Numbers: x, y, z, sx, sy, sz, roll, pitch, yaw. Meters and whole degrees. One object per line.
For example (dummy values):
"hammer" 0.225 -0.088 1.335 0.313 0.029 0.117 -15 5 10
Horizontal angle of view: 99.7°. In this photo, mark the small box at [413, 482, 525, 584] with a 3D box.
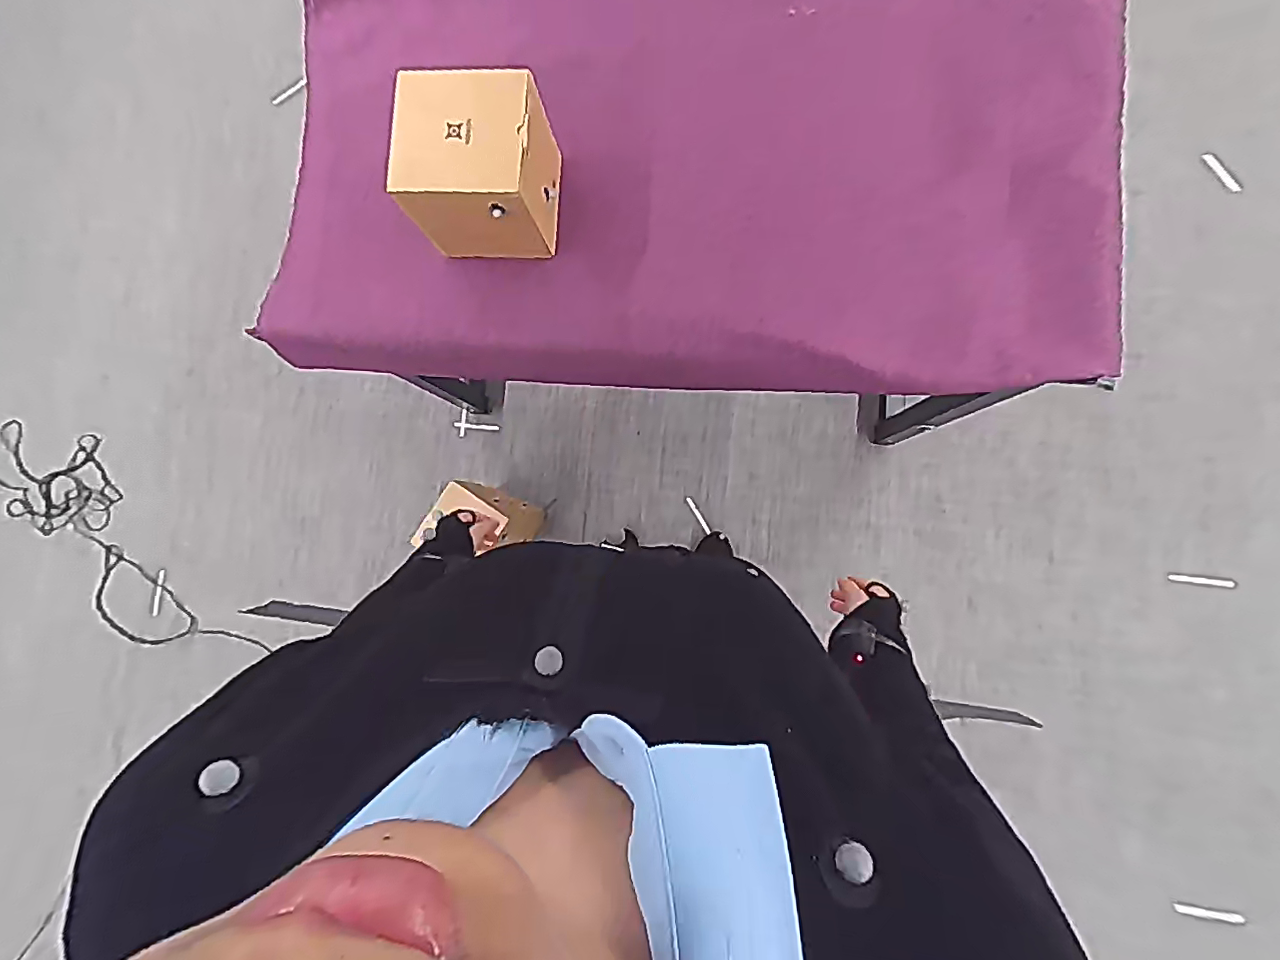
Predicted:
"small box" -0.396 0.123 1.295 0.168 0.176 0.179 34 90 7

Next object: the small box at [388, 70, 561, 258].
"small box" -0.220 -0.429 0.757 0.179 0.176 0.168 3 85 4
